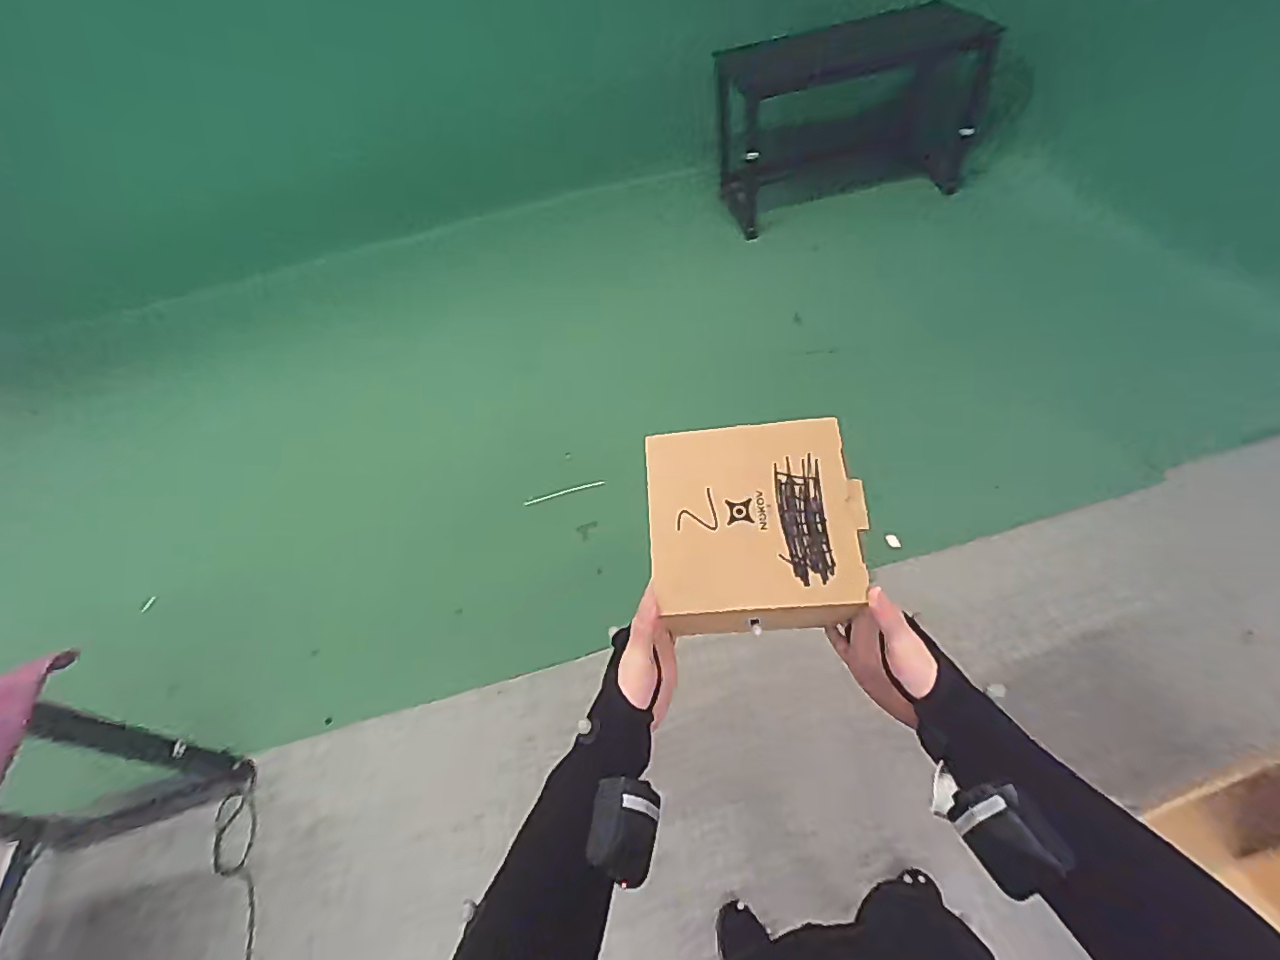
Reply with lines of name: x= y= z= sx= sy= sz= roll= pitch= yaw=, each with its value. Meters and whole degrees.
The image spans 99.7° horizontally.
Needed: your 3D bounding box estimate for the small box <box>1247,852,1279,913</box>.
small box: x=1.055 y=0.612 z=0.763 sx=0.168 sy=0.176 sz=0.179 roll=-17 pitch=51 yaw=-5
